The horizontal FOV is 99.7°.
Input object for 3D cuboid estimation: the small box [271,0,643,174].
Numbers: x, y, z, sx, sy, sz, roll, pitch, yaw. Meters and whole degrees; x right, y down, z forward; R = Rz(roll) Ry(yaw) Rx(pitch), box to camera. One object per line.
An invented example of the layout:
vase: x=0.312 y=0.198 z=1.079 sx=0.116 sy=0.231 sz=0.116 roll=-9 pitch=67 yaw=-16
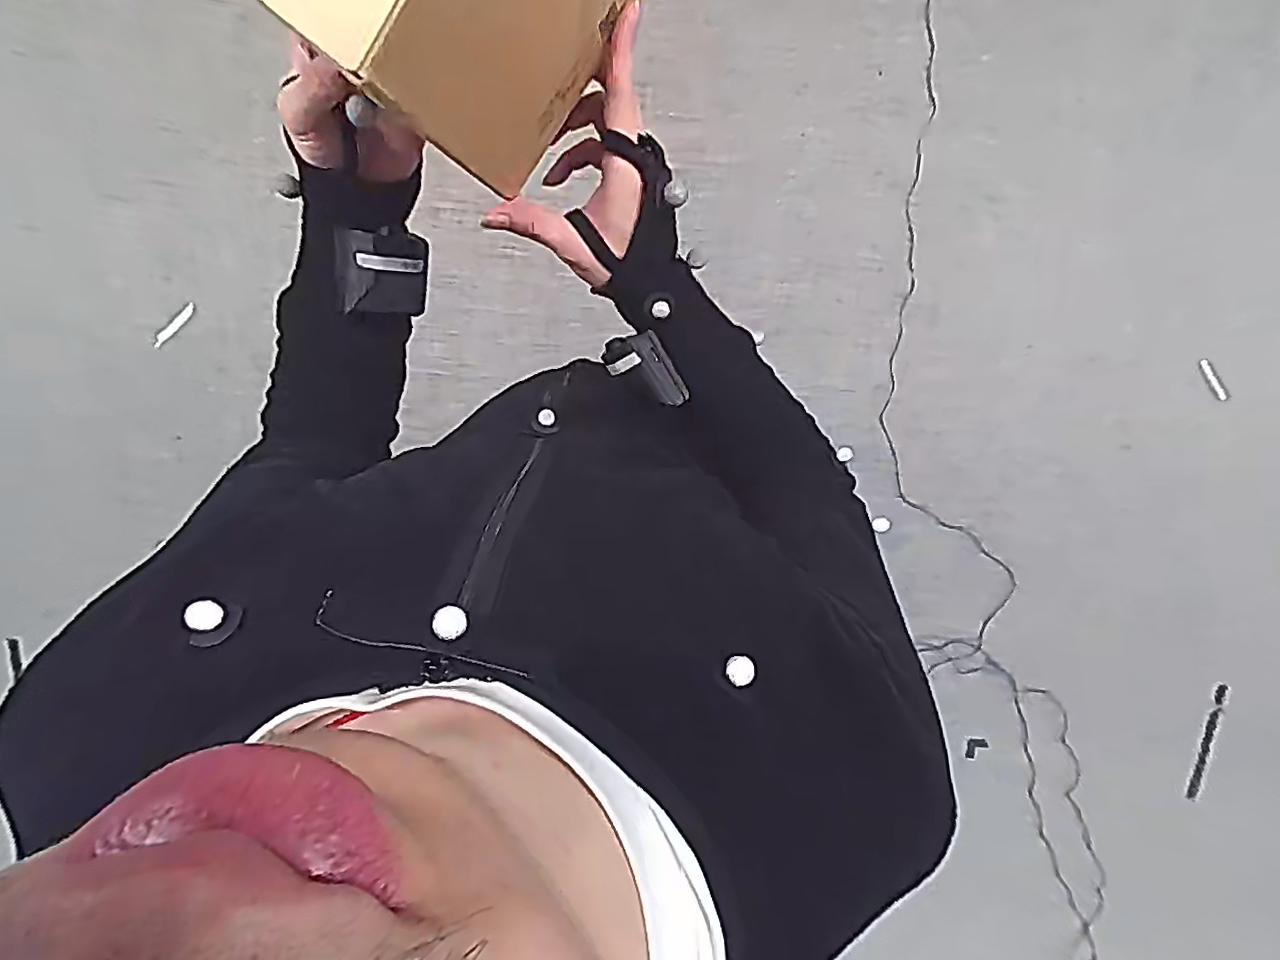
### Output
small box: x=-0.097 y=-0.266 z=0.233 sx=0.179 sy=0.176 sz=0.168 roll=38 pitch=104 yaw=-6
